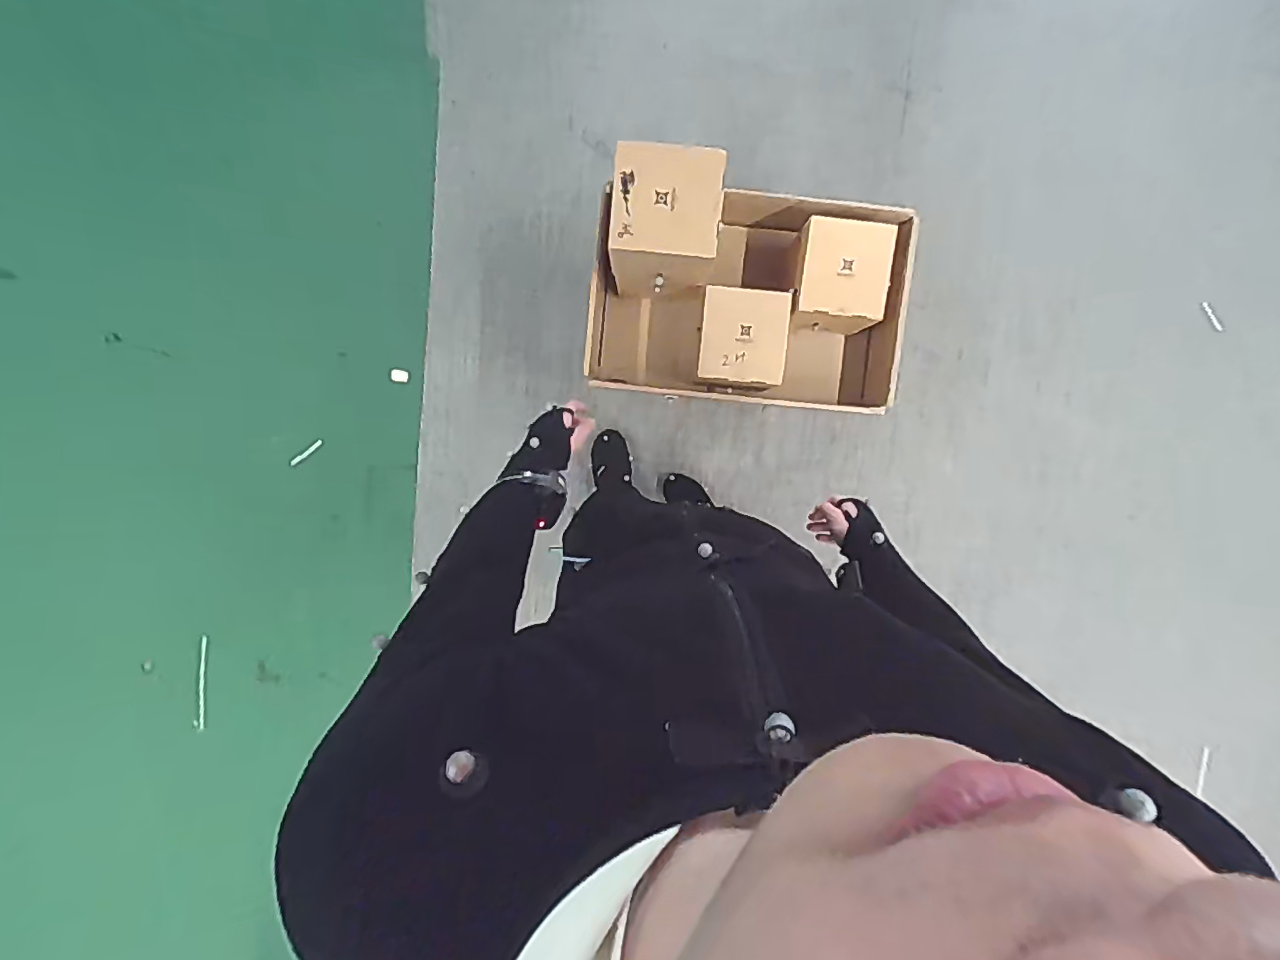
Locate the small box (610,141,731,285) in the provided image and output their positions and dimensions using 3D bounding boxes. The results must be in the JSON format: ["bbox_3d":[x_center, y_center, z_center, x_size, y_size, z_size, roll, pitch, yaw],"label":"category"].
[{"bbox_3d":[0.047,-0.444,0.929,0.179,0.176,0.168,6,95,-1],"label":"small box"}]
